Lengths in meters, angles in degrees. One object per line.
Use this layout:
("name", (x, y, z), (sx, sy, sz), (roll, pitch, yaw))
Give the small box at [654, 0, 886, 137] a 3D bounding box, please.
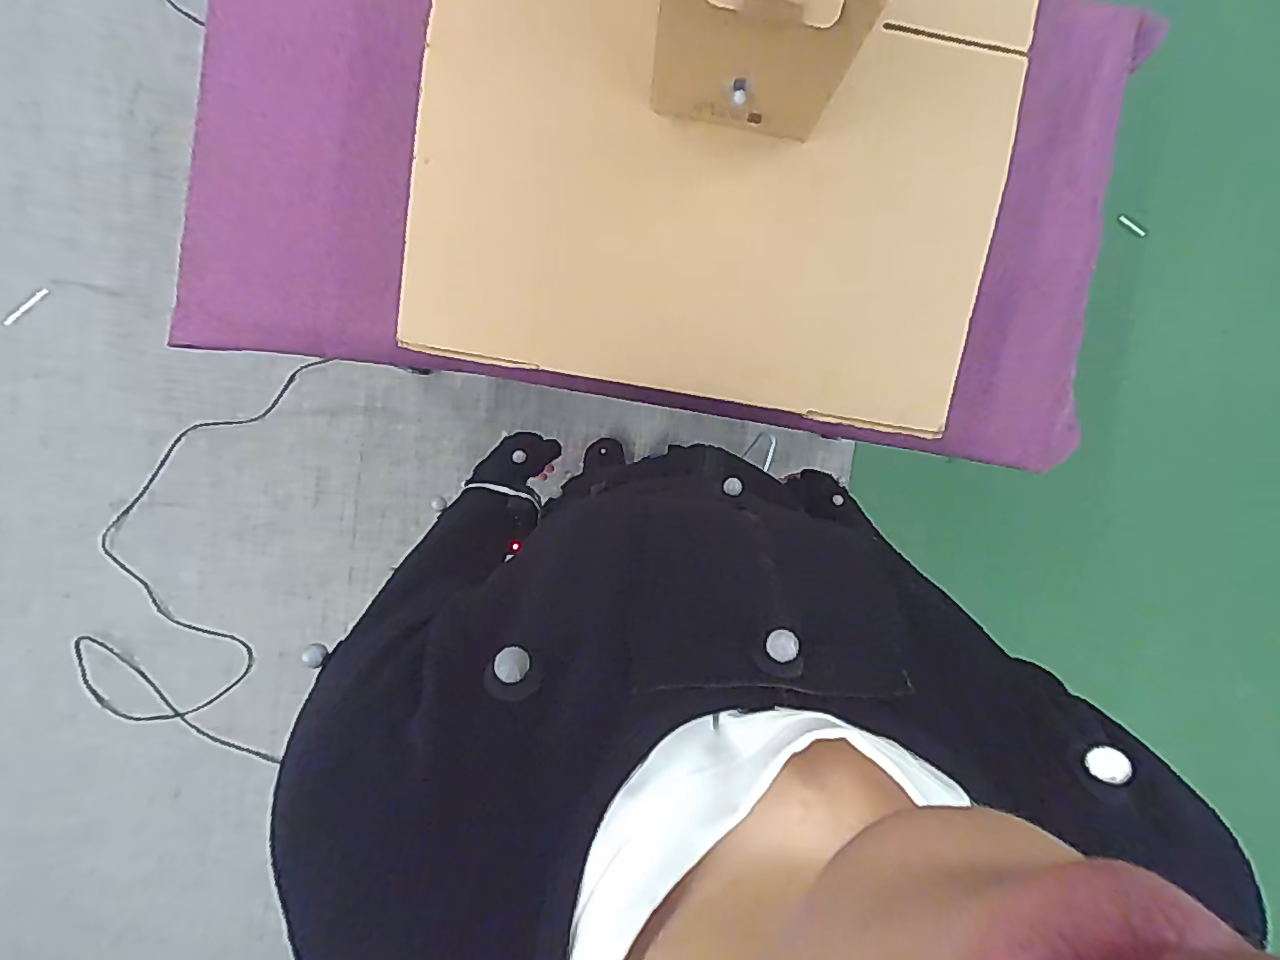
("small box", (0.108, -0.444, 0.466), (0.168, 0.176, 0.179), (10, 92, -3))
